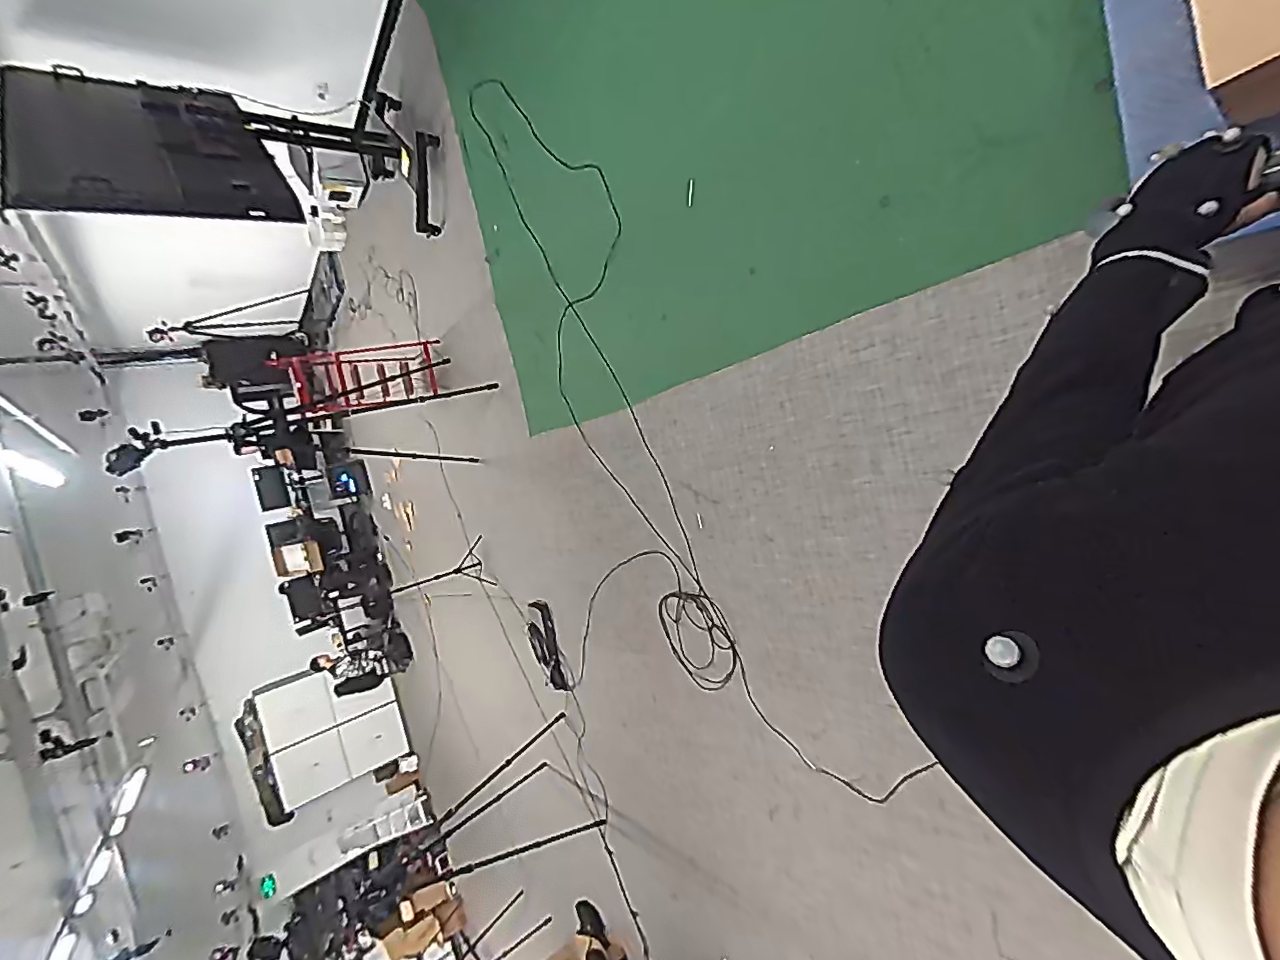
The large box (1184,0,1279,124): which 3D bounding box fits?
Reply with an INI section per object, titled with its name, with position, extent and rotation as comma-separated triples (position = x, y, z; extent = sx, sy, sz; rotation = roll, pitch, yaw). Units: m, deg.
[large box]
position = 0.965, -0.794, 0.730
extent = 0.320, 0.320, 0.408
rotation = -11, 93, 53
